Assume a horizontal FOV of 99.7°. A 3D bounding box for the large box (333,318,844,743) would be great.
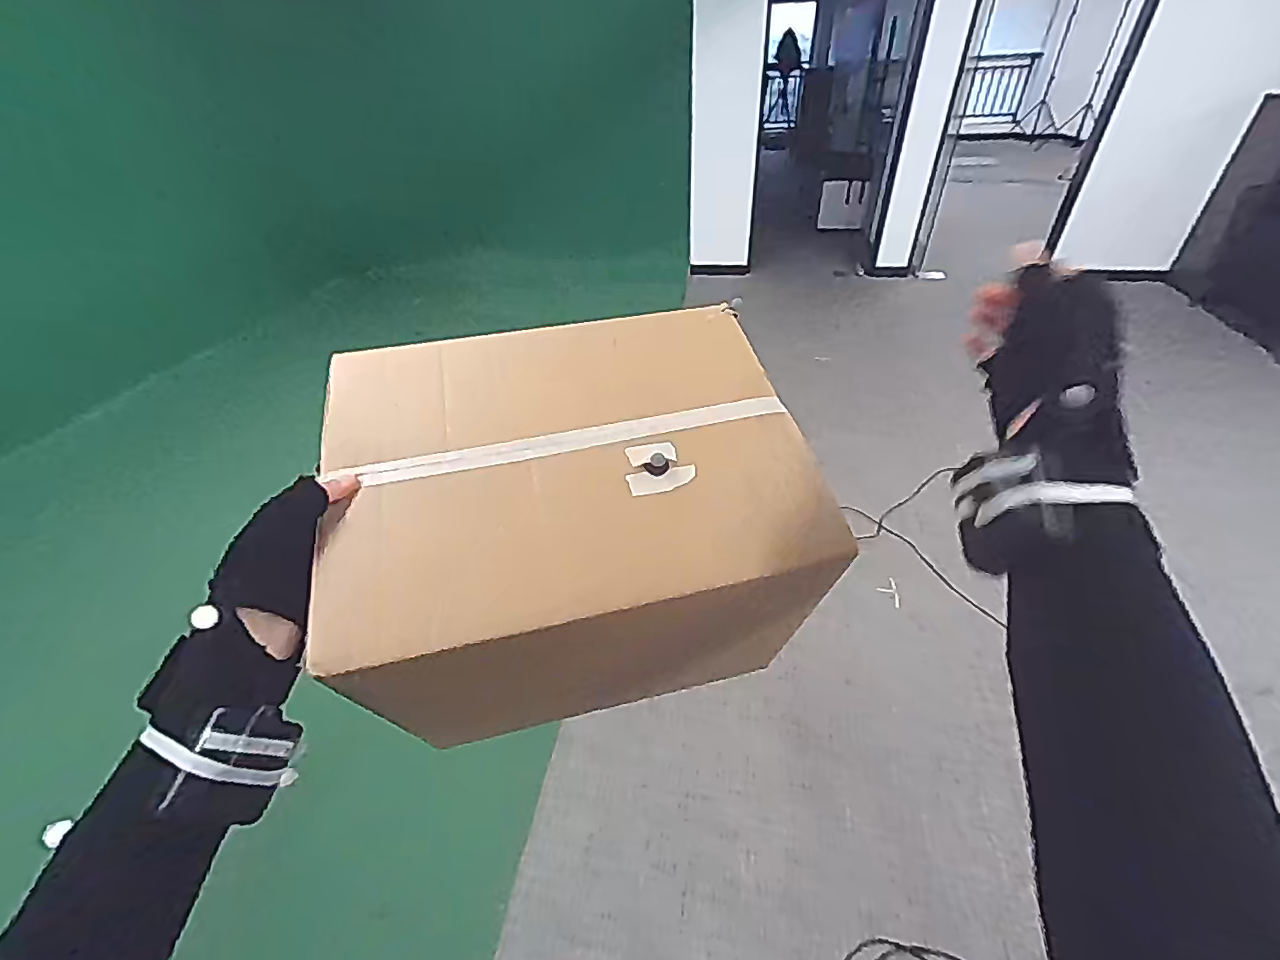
[{"bbox_3d":[-0.066,0.059,0.608,0.408,0.320,0.320,-10,56,-10],"label":"large box"}]
